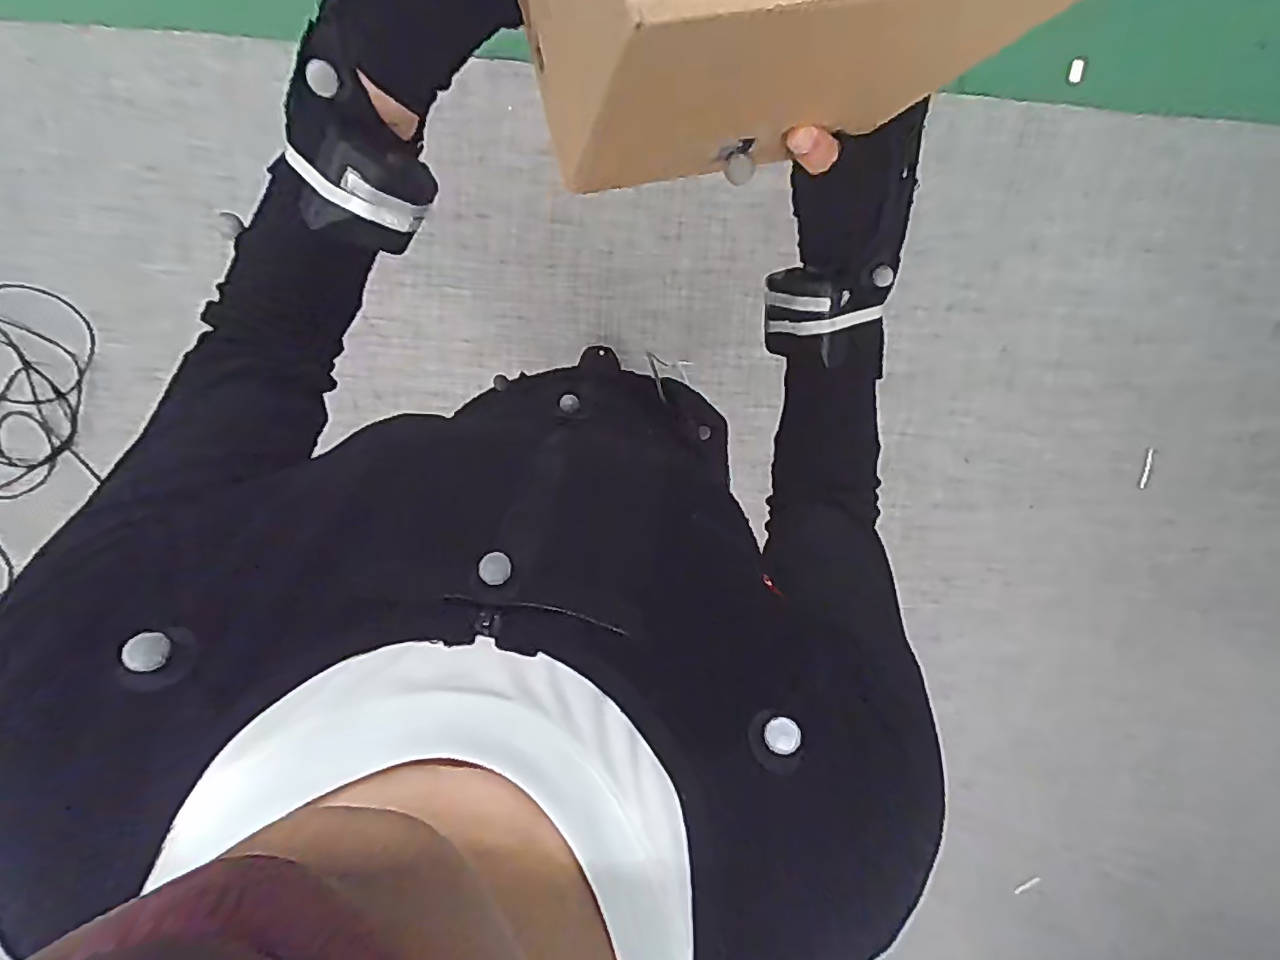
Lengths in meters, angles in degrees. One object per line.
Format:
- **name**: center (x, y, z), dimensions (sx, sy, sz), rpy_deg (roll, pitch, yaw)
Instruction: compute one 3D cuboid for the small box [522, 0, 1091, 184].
- **small box**: center (0.045, -0.240, 0.217), dimensions (0.179, 0.176, 0.168), rpy_deg (-16, 106, -11)
